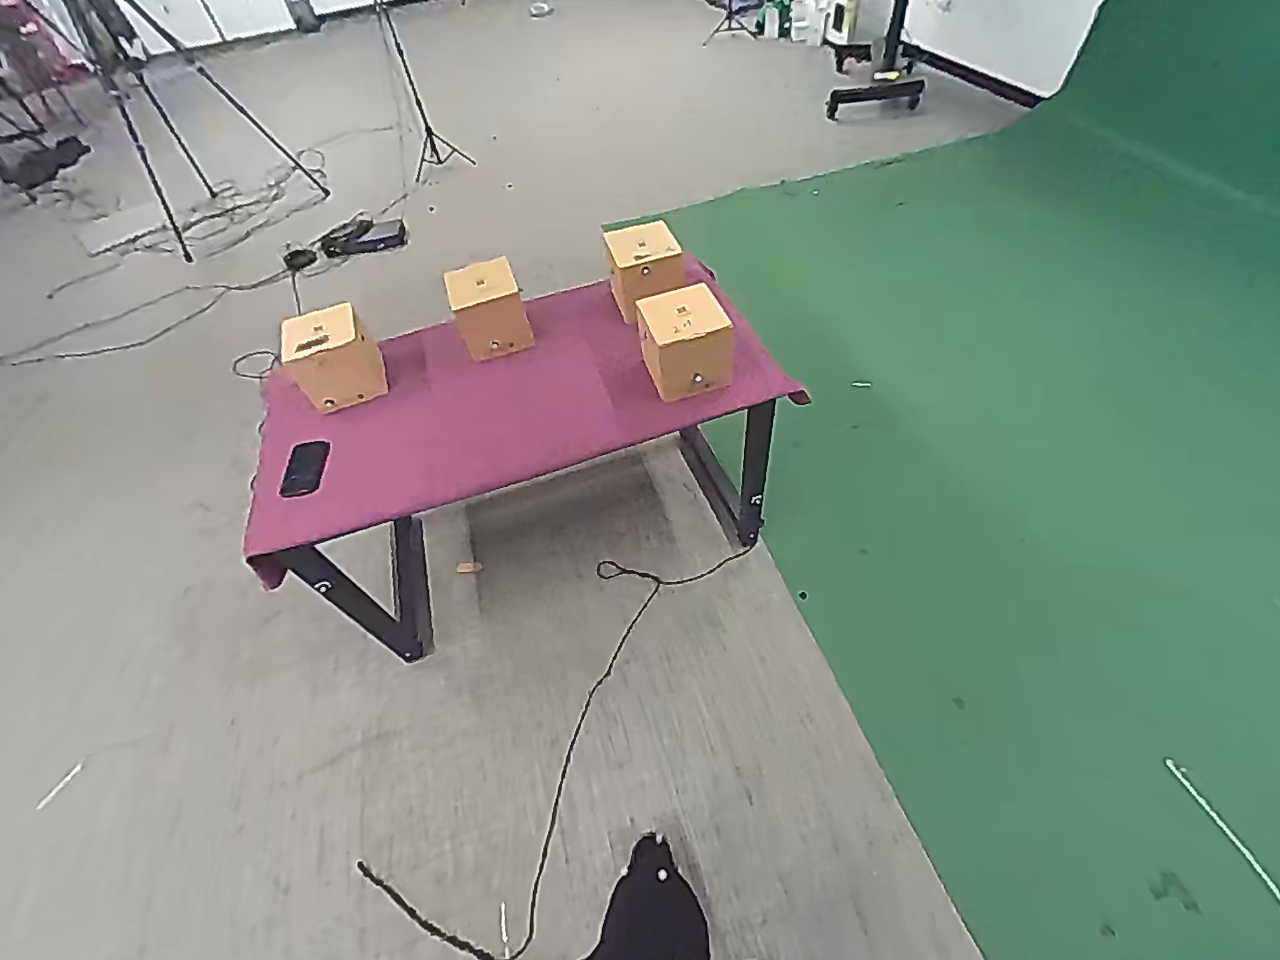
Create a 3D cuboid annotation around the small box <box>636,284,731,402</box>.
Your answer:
[{"bbox_3d":[0.096,-0.307,1.220,0.168,0.176,0.179,-17,52,-4],"label":"small box"}]

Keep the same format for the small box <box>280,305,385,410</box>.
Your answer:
[{"bbox_3d":[-0.744,-0.291,1.320,0.168,0.176,0.179,-21,52,-10],"label":"small box"}]

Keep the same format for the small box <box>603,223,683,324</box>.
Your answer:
[{"bbox_3d":[0.009,-0.540,1.418,0.168,0.176,0.179,-16,52,-4],"label":"small box"}]

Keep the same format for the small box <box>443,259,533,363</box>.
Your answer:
[{"bbox_3d":[-0.386,-0.430,1.385,0.168,0.176,0.179,-19,53,-6],"label":"small box"}]
